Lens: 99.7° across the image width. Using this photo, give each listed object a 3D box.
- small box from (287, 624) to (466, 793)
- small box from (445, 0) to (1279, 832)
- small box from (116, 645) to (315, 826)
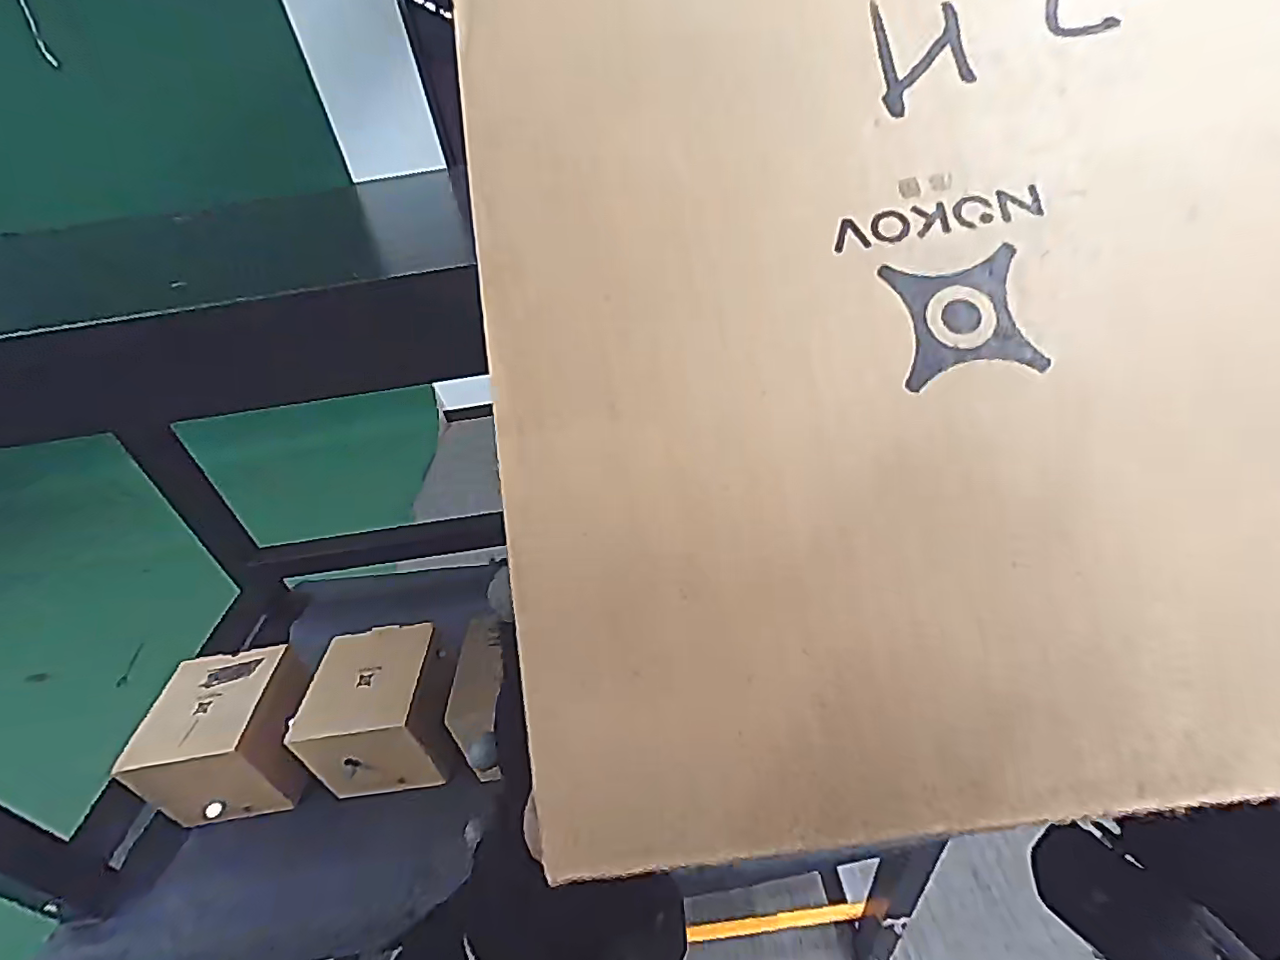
[{"bbox_3d":[-0.380,0.350,0.821,0.168,0.176,0.179,-8,34,1],"label":"small box"},{"bbox_3d":[0.056,-0.025,0.176,0.168,0.176,0.179,-9,79,3],"label":"small box"},{"bbox_3d":[-0.604,0.384,0.819,0.168,0.176,0.179,-10,35,-1],"label":"small box"}]
